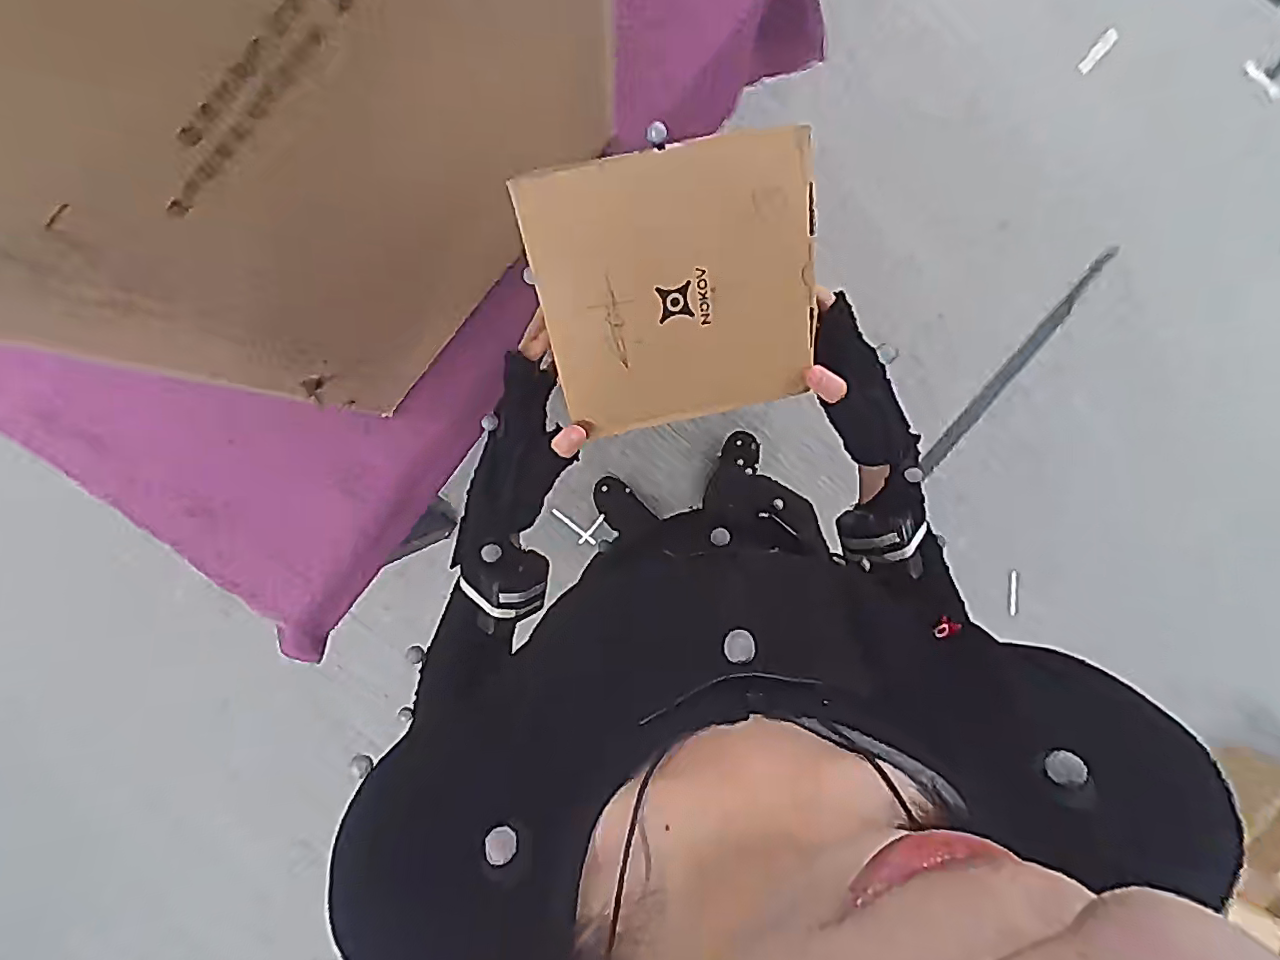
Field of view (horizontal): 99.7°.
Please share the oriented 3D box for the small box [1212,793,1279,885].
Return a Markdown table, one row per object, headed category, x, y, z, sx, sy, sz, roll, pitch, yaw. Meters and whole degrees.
| category | x | y | z | sx | sy | sz | roll | pitch | yaw |
| --- | --- | --- | --- | --- | --- | --- | --- | --- | --- |
| small box | 1.773 | 1.015 | 1.493 | 0.179 | 0.176 | 0.168 | 39 | 91 | -3 |
